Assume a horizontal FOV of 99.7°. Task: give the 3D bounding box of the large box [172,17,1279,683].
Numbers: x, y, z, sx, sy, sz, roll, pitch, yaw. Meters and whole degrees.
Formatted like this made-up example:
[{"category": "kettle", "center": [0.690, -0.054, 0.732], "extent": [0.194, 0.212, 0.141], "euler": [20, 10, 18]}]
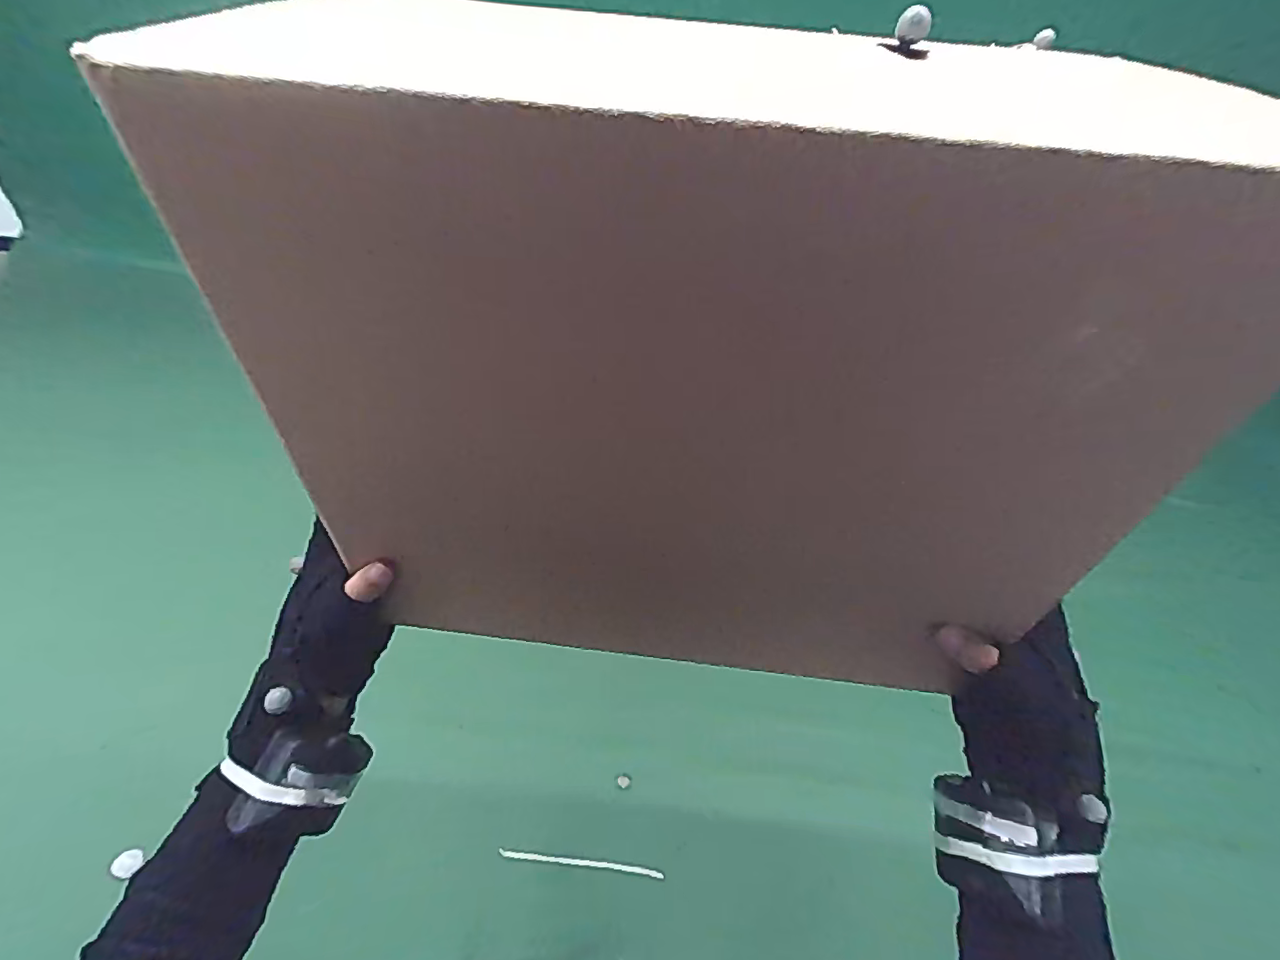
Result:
[{"category": "large box", "center": [0.049, -0.092, 0.374], "extent": [0.408, 0.320, 0.320], "euler": [7, 44, 1]}]
